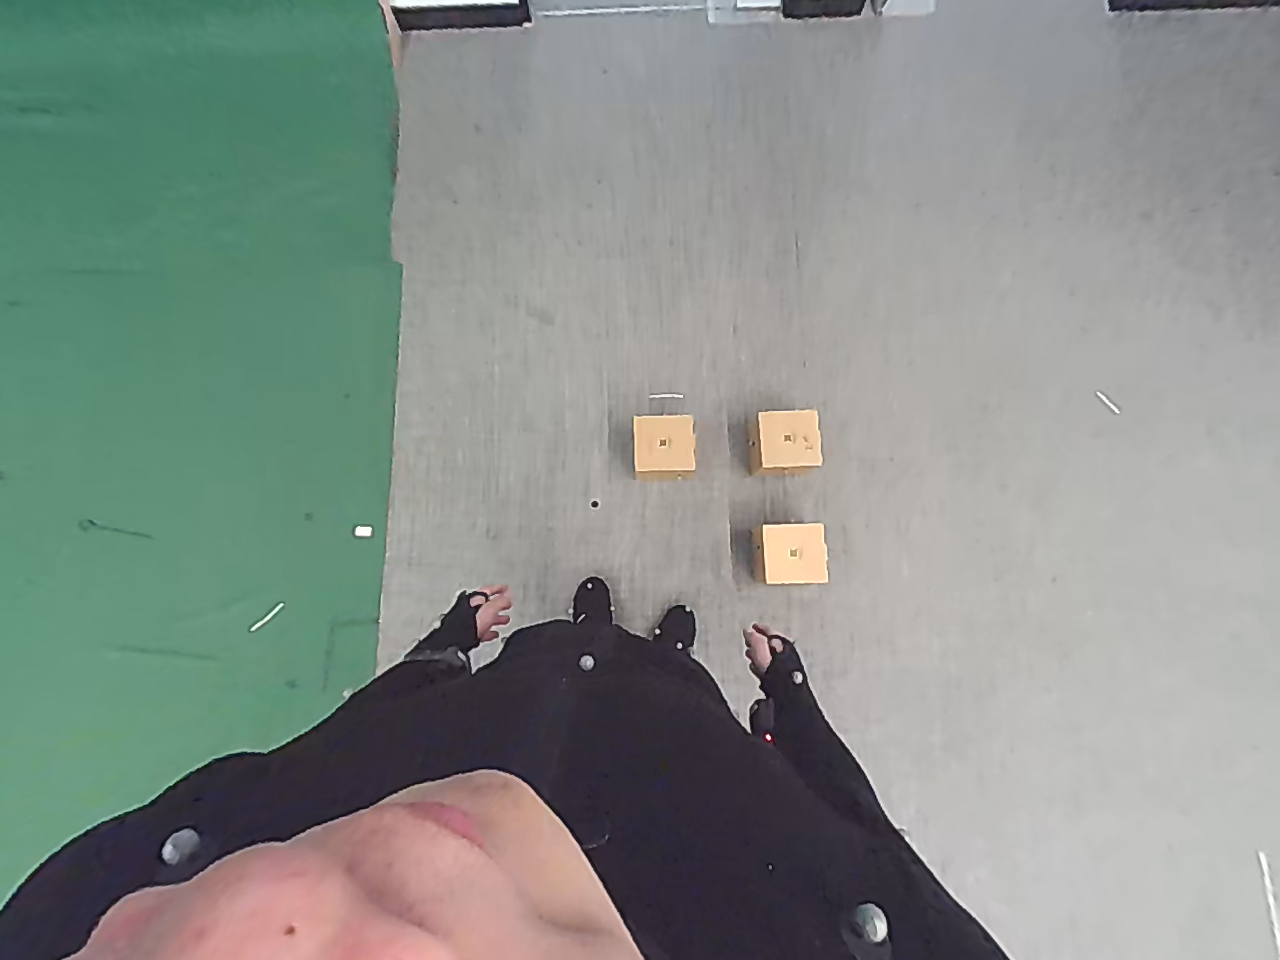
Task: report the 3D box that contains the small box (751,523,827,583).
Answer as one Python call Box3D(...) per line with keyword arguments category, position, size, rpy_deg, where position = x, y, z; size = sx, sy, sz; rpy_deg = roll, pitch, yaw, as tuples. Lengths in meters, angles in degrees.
Box3D(category="small box", position=(0.423, 0.215, 1.570), size=(0.179, 0.176, 0.168), rpy_deg=(-2, 80, -1))

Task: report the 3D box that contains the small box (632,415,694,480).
Box3D(category="small box", position=(0.066, -0.095, 1.620), size=(0.179, 0.176, 0.168), rpy_deg=(-1, 80, 0))

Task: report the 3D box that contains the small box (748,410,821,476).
Box3D(category="small box", position=(0.423, -0.107, 1.619), size=(0.179, 0.176, 0.168), rpy_deg=(-2, 81, -1))
